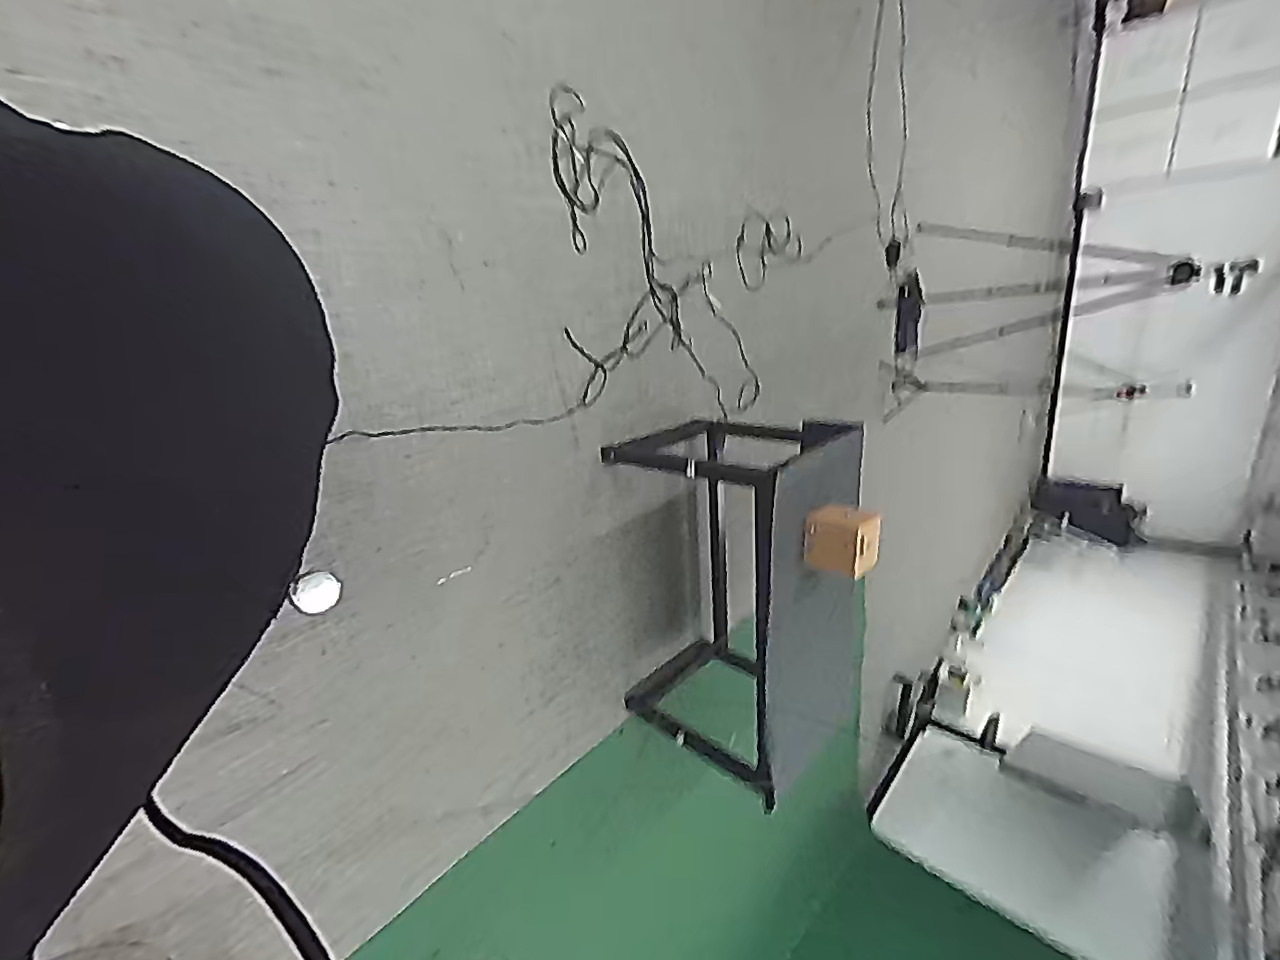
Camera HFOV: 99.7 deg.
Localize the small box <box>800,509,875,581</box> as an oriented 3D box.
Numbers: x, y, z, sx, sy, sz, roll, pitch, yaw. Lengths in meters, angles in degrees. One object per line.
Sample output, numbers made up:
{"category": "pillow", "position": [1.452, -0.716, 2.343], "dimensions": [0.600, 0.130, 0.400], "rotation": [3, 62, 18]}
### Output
{"category": "small box", "position": [0.619, 0.198, 1.705], "dimensions": [0.179, 0.176, 0.168], "rotation": [-15, 110, -45]}
